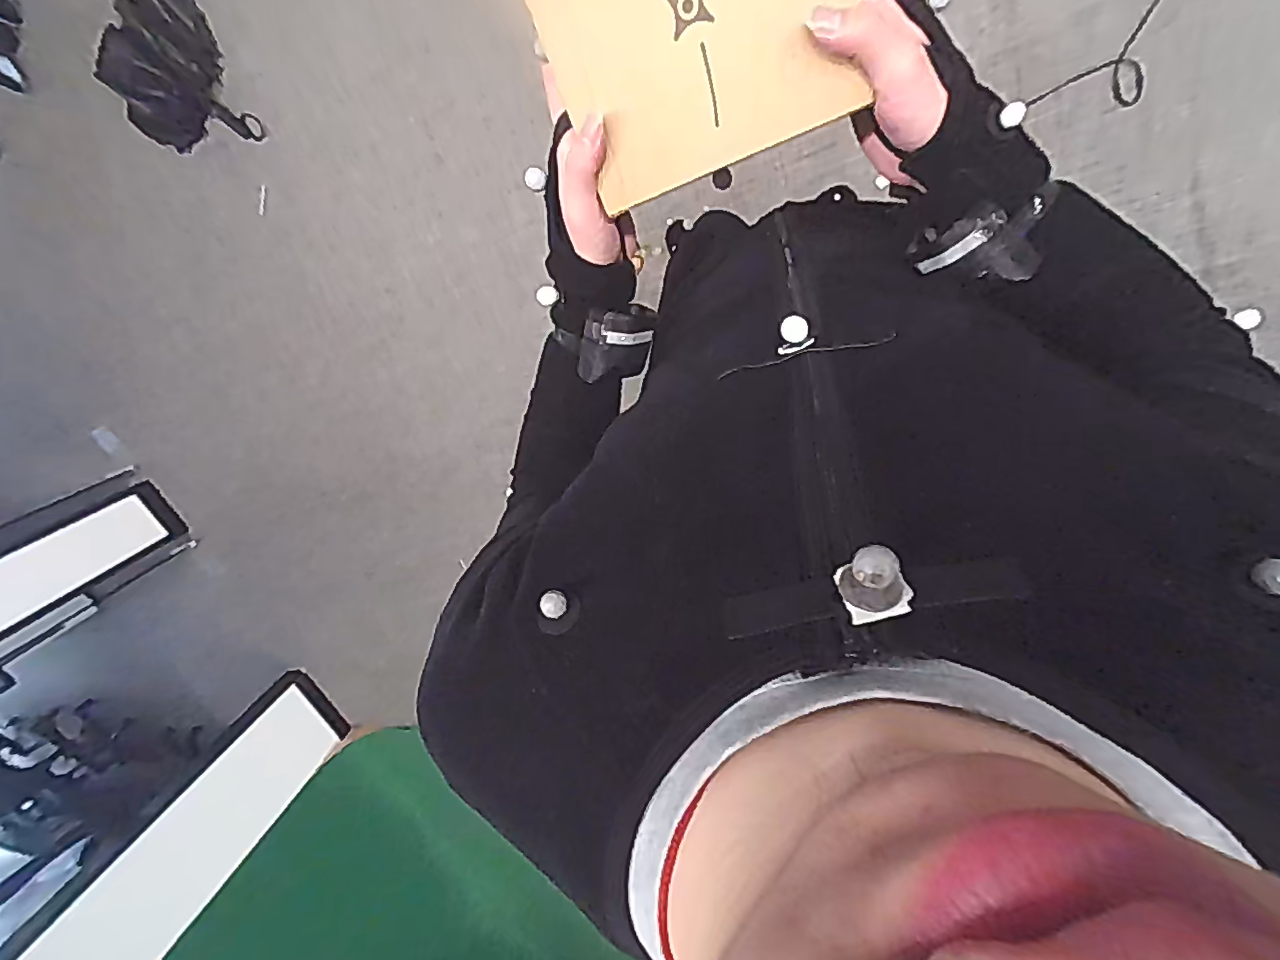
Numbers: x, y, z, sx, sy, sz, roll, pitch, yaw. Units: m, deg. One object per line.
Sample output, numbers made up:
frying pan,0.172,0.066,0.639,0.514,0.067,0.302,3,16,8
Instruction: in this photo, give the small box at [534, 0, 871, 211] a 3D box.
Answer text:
small box,0.033,-0.300,0.354,0.168,0.176,0.179,-15,118,15
